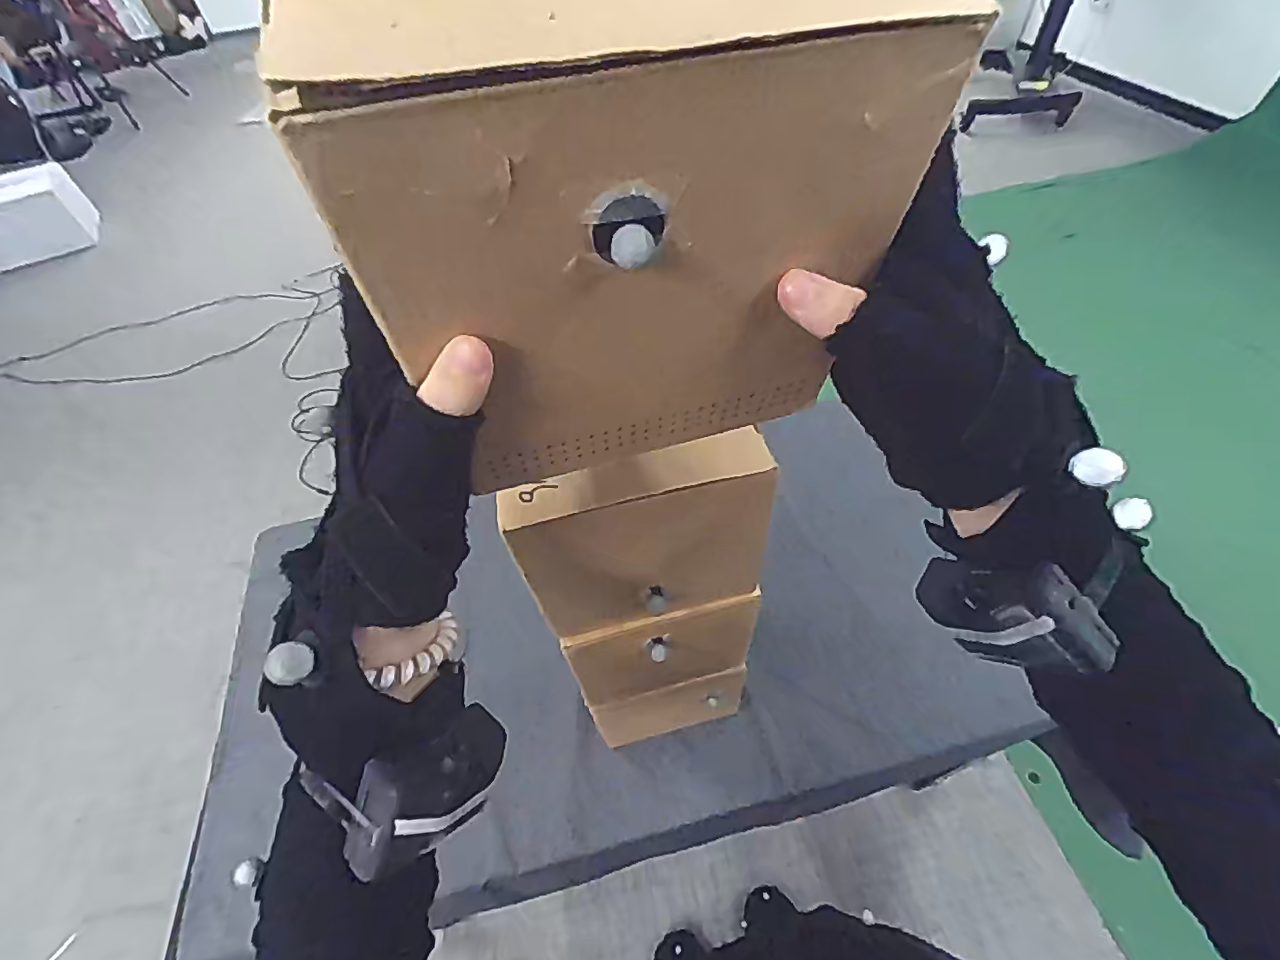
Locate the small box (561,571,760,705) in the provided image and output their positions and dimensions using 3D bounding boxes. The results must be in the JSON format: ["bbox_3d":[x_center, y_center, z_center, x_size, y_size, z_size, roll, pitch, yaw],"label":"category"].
[{"bbox_3d":[0.007,0.113,0.566,0.179,0.176,0.168,-14,51,-5],"label":"small box"}]

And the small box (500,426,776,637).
[{"bbox_3d":[-0.009,0.006,0.441,0.179,0.176,0.168,-12,50,-4],"label":"small box"}]

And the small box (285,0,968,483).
[{"bbox_3d":[-0.017,-0.119,0.236,0.179,0.176,0.168,-15,62,-9],"label":"small box"}]
